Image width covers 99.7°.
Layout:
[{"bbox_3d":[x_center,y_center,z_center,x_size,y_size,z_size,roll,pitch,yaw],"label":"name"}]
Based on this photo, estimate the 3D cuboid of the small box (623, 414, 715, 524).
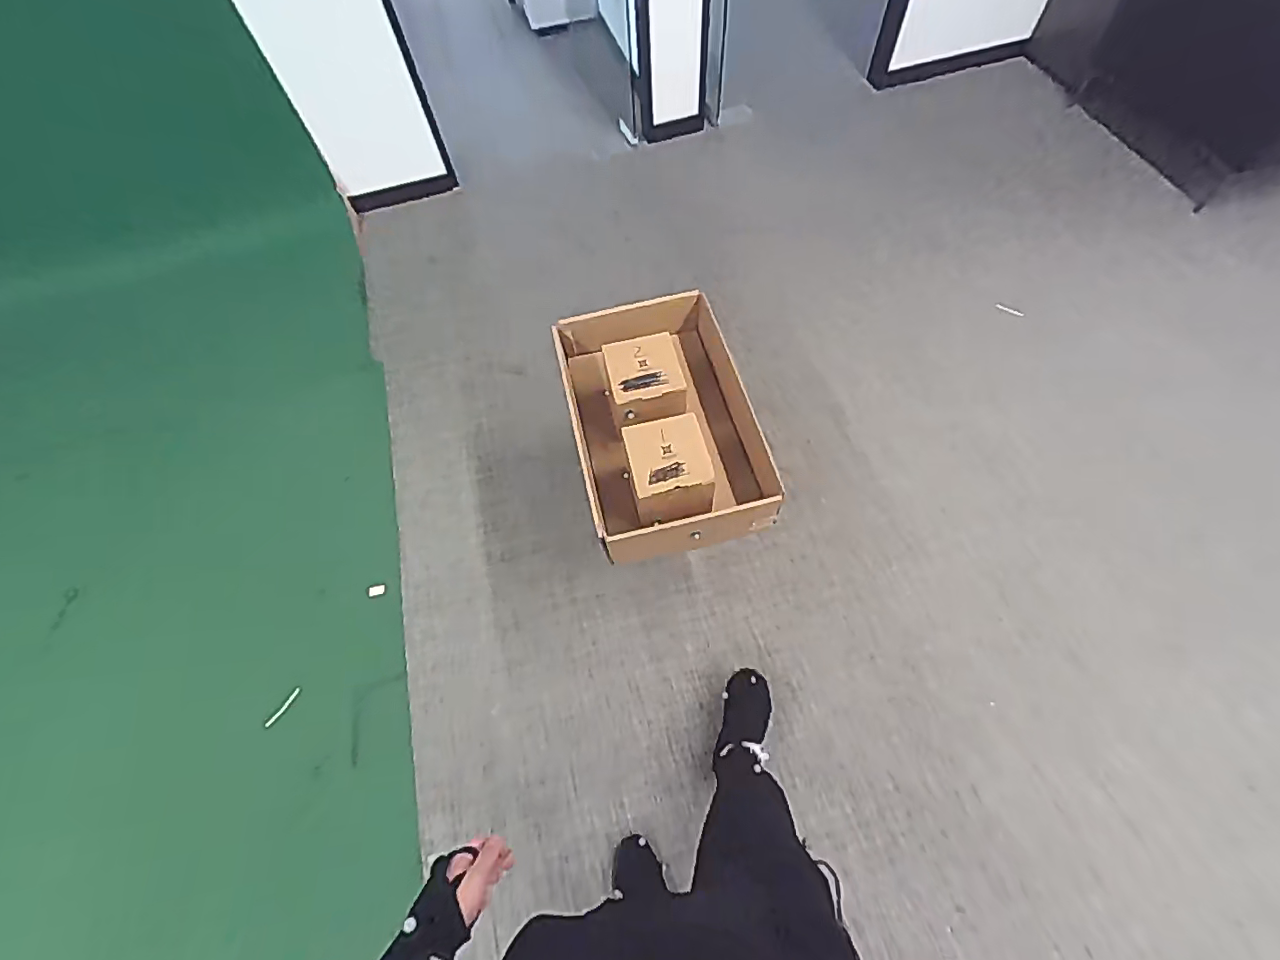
[{"bbox_3d":[0.063,-0.016,1.197,0.168,0.176,0.179,-12,61,-3],"label":"small box"}]
